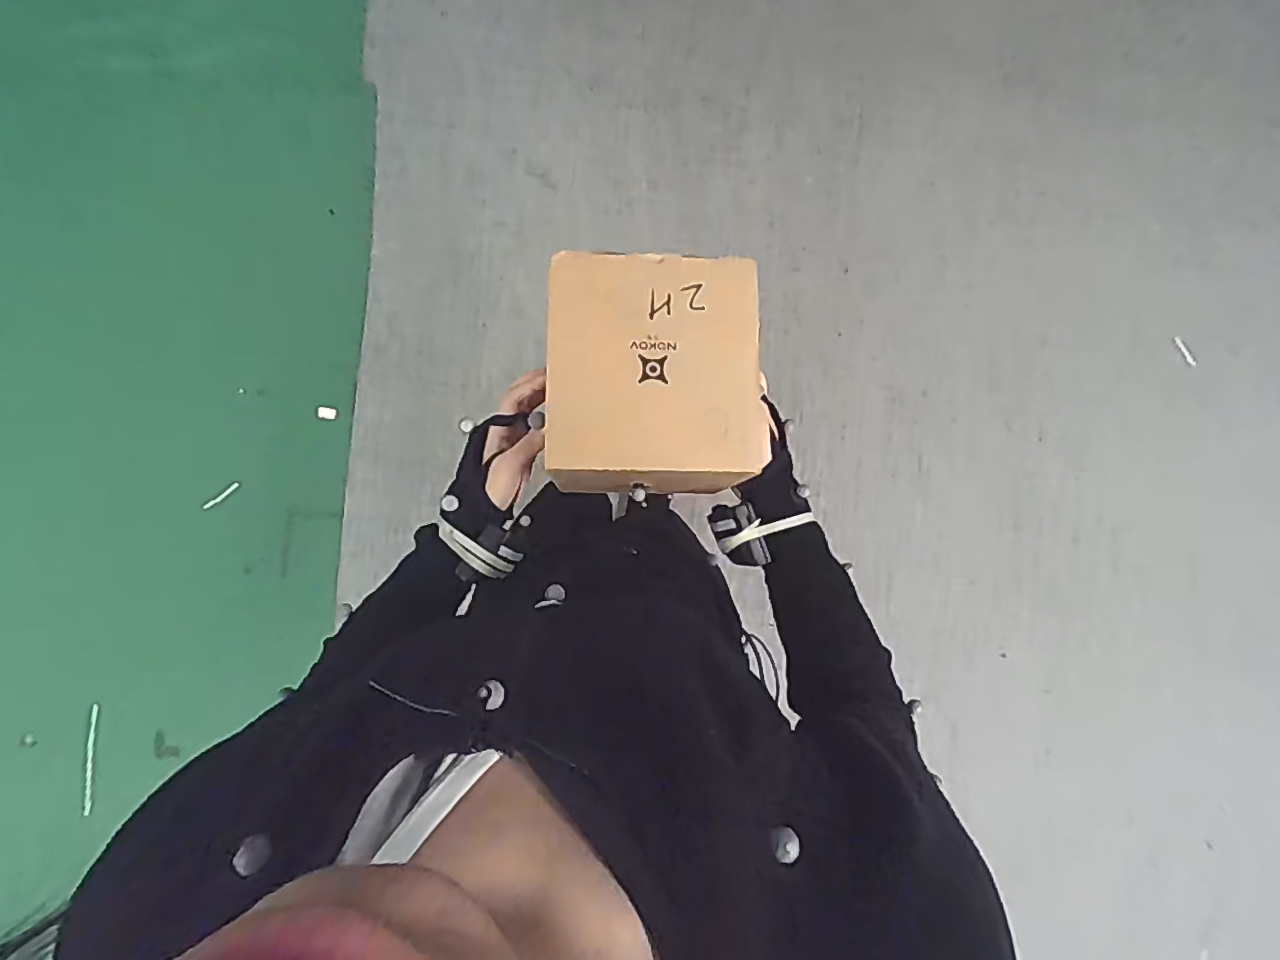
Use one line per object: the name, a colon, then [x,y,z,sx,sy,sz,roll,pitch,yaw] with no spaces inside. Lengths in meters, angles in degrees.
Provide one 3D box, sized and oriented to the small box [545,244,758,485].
small box: [0.007,-0.089,0.500,0.168,0.176,0.179,1,83,-4]
